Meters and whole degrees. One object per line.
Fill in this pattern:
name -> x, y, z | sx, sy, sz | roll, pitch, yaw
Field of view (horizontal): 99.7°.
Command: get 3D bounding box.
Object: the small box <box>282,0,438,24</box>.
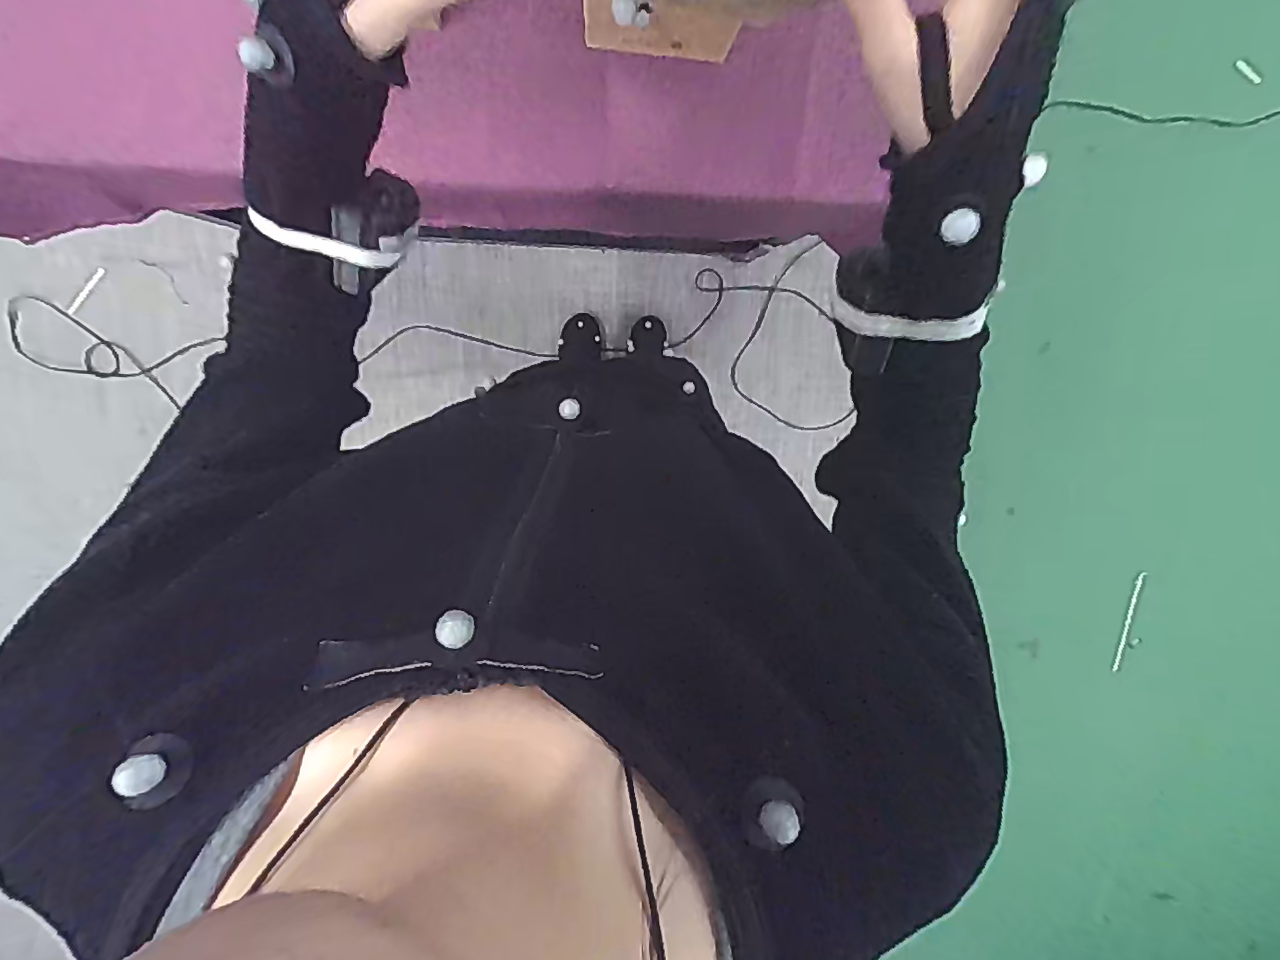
small box -> -0.296, -0.576, 0.512 | 0.179, 0.176, 0.168 | 1, 104, -5

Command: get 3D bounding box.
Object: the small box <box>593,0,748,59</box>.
small box -> 0.037, -0.567, 0.544 | 0.168, 0.176, 0.179 | 2, 104, -5

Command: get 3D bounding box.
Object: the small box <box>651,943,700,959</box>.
small box -> 0.131, 1.811, 1.935 | 0.179, 0.176, 0.168 | -1, 105, -6
